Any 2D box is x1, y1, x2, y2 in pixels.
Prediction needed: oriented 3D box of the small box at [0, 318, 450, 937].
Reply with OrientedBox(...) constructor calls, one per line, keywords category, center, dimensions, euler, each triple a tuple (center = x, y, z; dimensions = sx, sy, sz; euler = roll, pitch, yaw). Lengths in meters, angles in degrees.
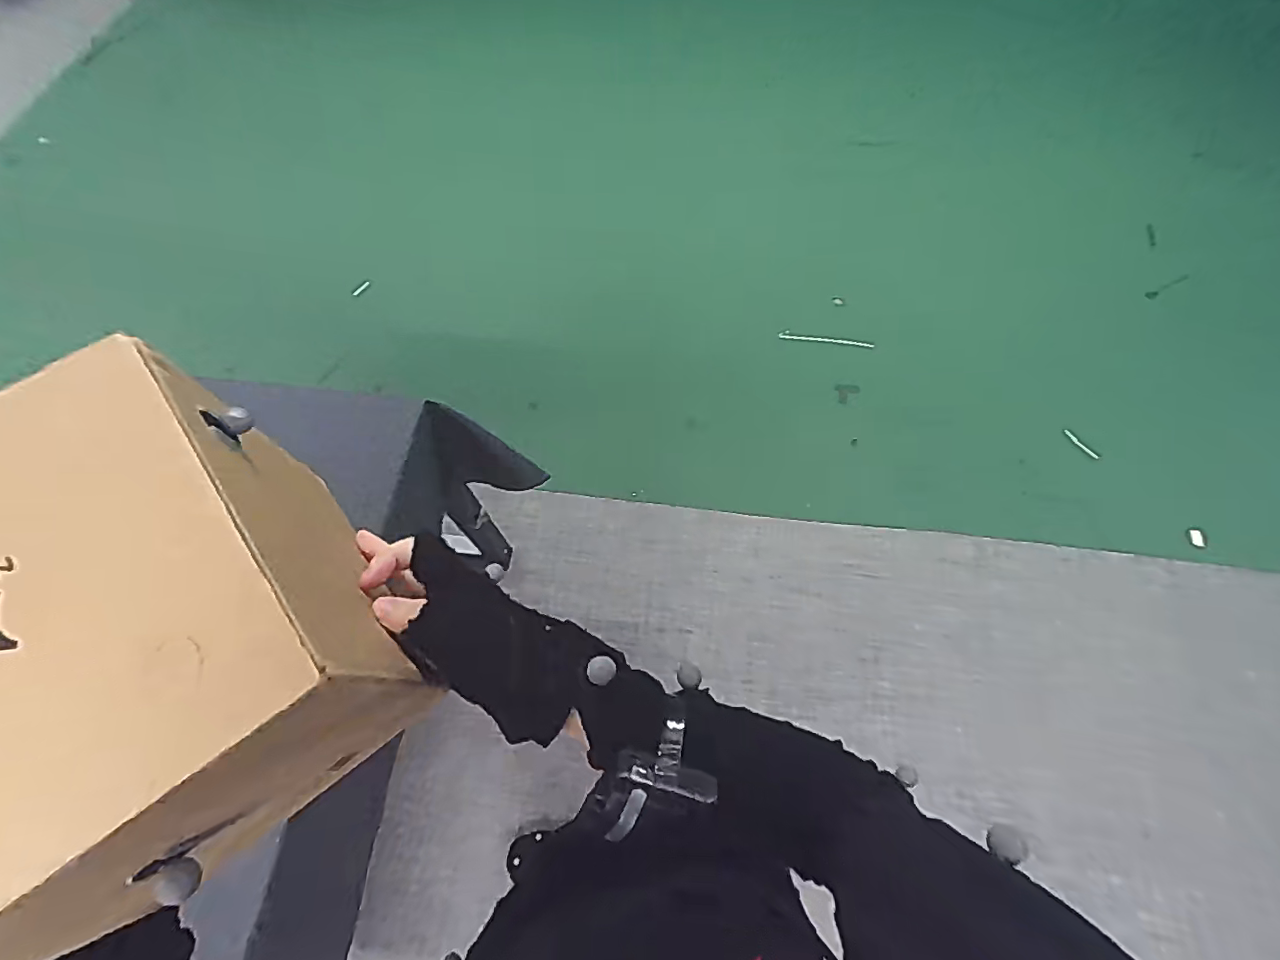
OrientedBox(category="small box", center=(-0.219, 0.068, 0.259), dimensions=(0.168, 0.176, 0.179), euler=(-35, 73, -17))
